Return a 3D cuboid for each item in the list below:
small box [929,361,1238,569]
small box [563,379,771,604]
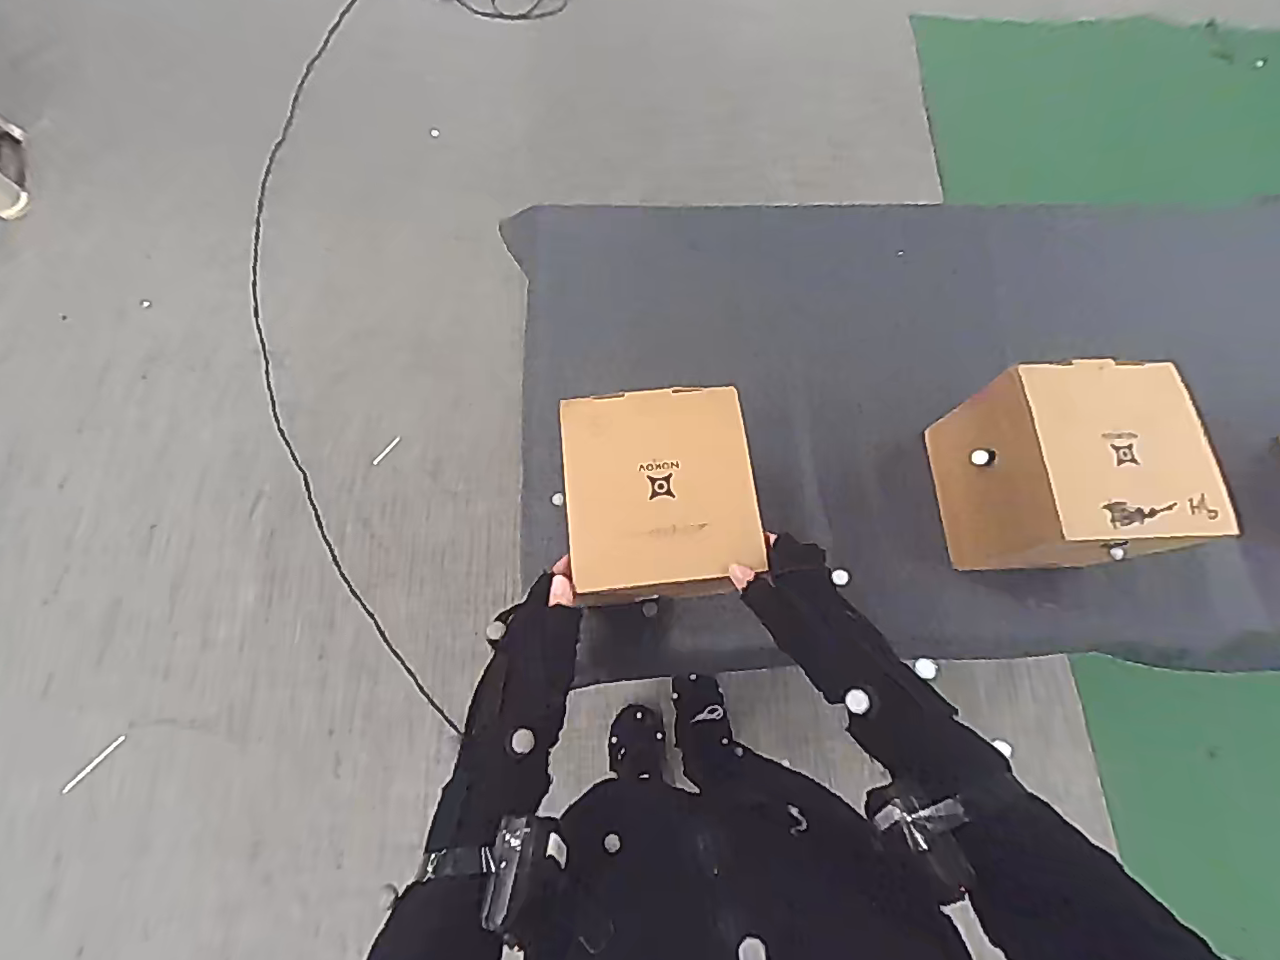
[{"bbox_3d":[0.441,-0.008,0.577,0.168,0.176,0.179,-2,71,-3],"label":"small box"},{"bbox_3d":[0.016,0.020,0.527,0.168,0.176,0.179,-4,73,-2],"label":"small box"}]
